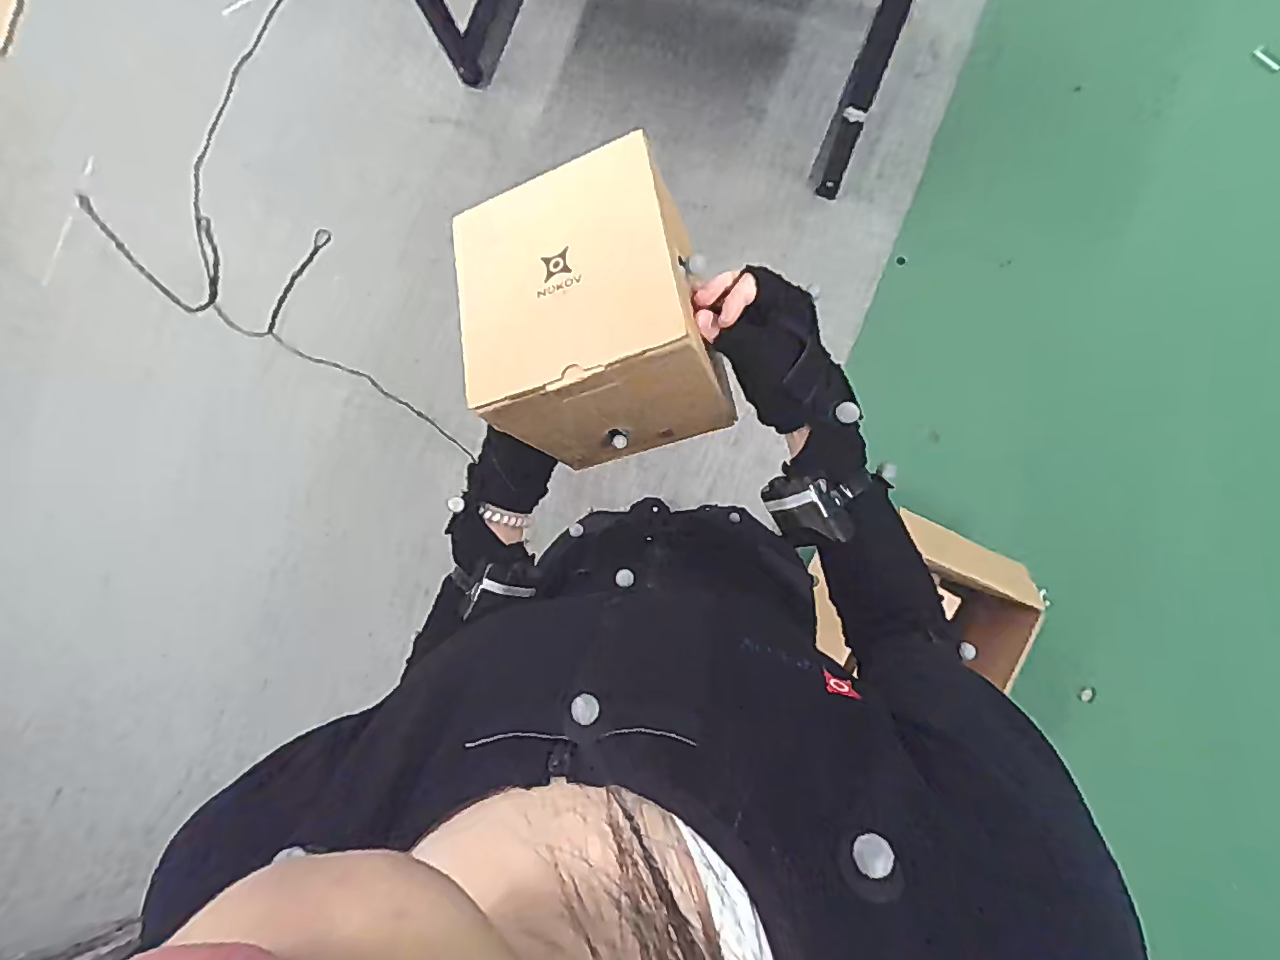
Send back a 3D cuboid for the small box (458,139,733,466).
[{"bbox_3d":[-0.028,-0.129,0.459,0.168,0.176,0.179,-16,74,15],"label":"small box"}]
